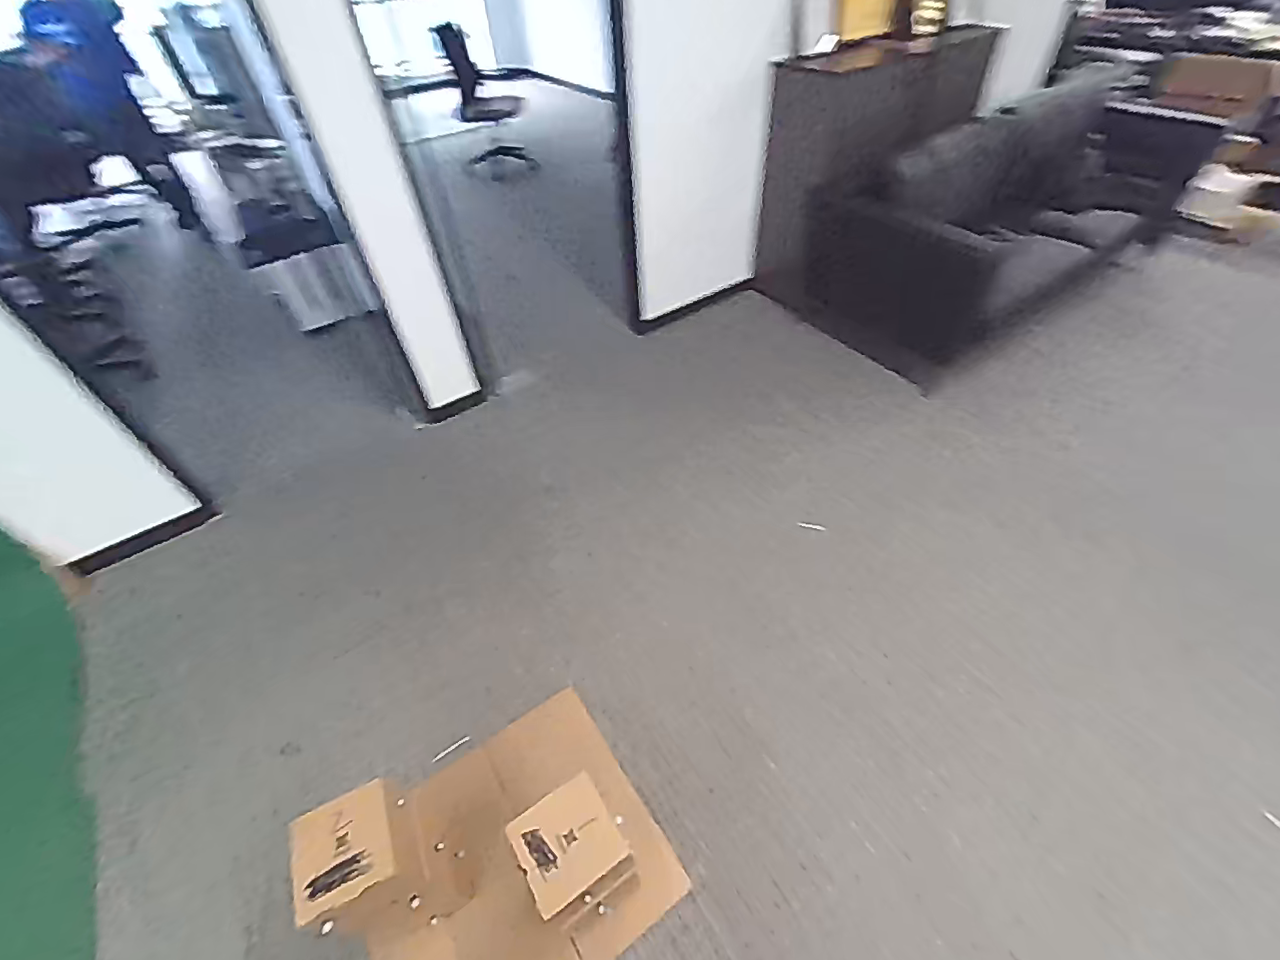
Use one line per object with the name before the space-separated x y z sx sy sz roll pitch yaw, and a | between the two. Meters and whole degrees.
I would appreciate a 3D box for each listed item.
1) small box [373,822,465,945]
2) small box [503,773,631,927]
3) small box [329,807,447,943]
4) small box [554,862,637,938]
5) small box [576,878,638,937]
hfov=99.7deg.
small box | -0.522 0.944 1.265 0.179 0.176 0.168 -21 49 -16
small box | -0.130 0.702 1.021 0.179 0.176 0.168 -28 52 -21
small box | -0.523 0.833 1.141 0.179 0.176 0.168 -22 49 -16
small box | -0.121 0.817 1.139 0.179 0.176 0.168 -29 53 -20
small box | -0.117 0.923 1.261 0.179 0.176 0.168 -28 51 -21
